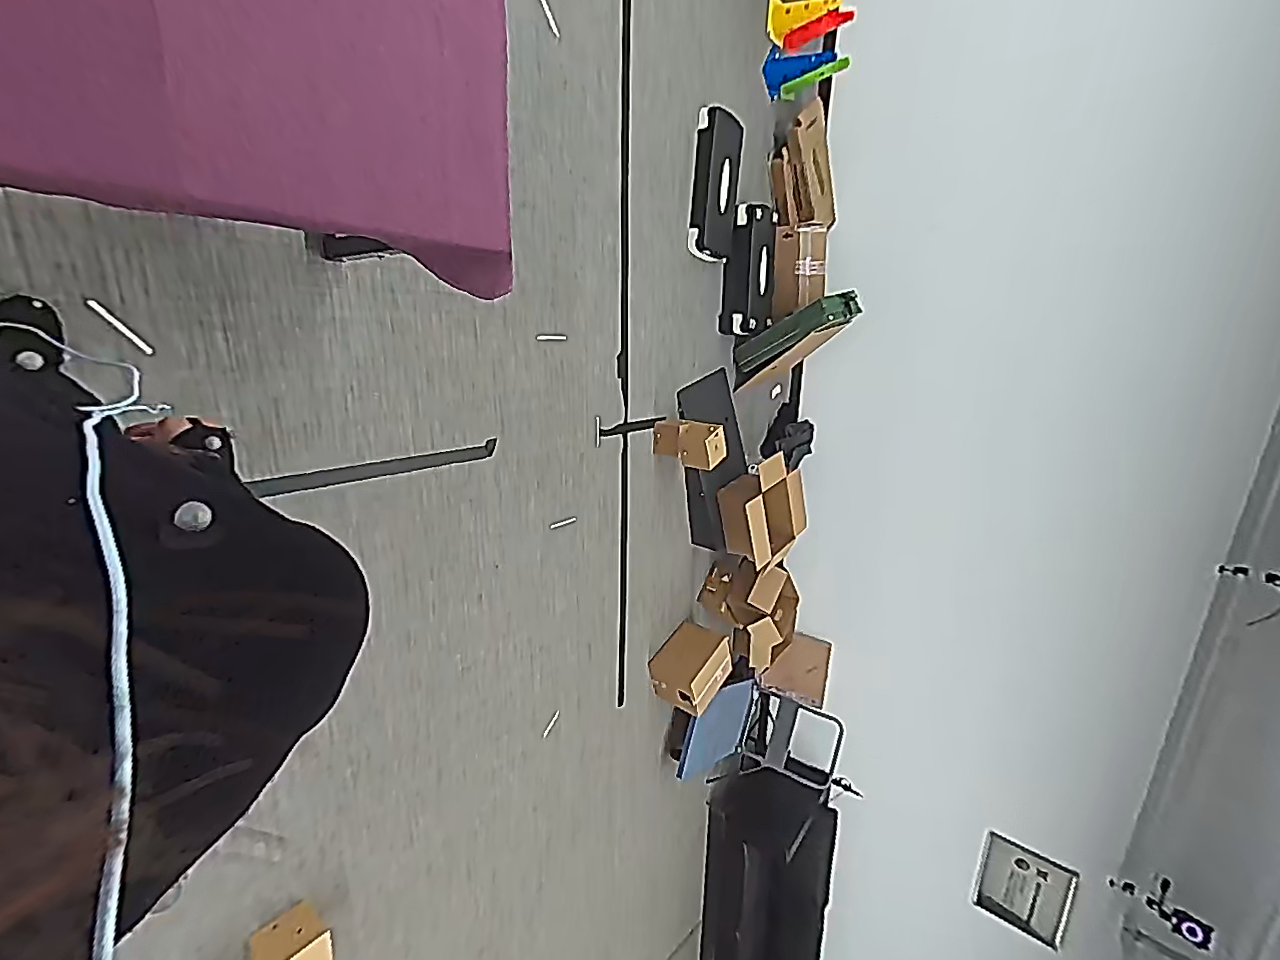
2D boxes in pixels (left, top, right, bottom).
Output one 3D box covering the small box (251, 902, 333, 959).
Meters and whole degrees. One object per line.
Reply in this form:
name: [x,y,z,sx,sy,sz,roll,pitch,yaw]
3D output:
small box: [-1.098,1.490,1.706,0.168,0.176,0.179,-16,114,-50]
